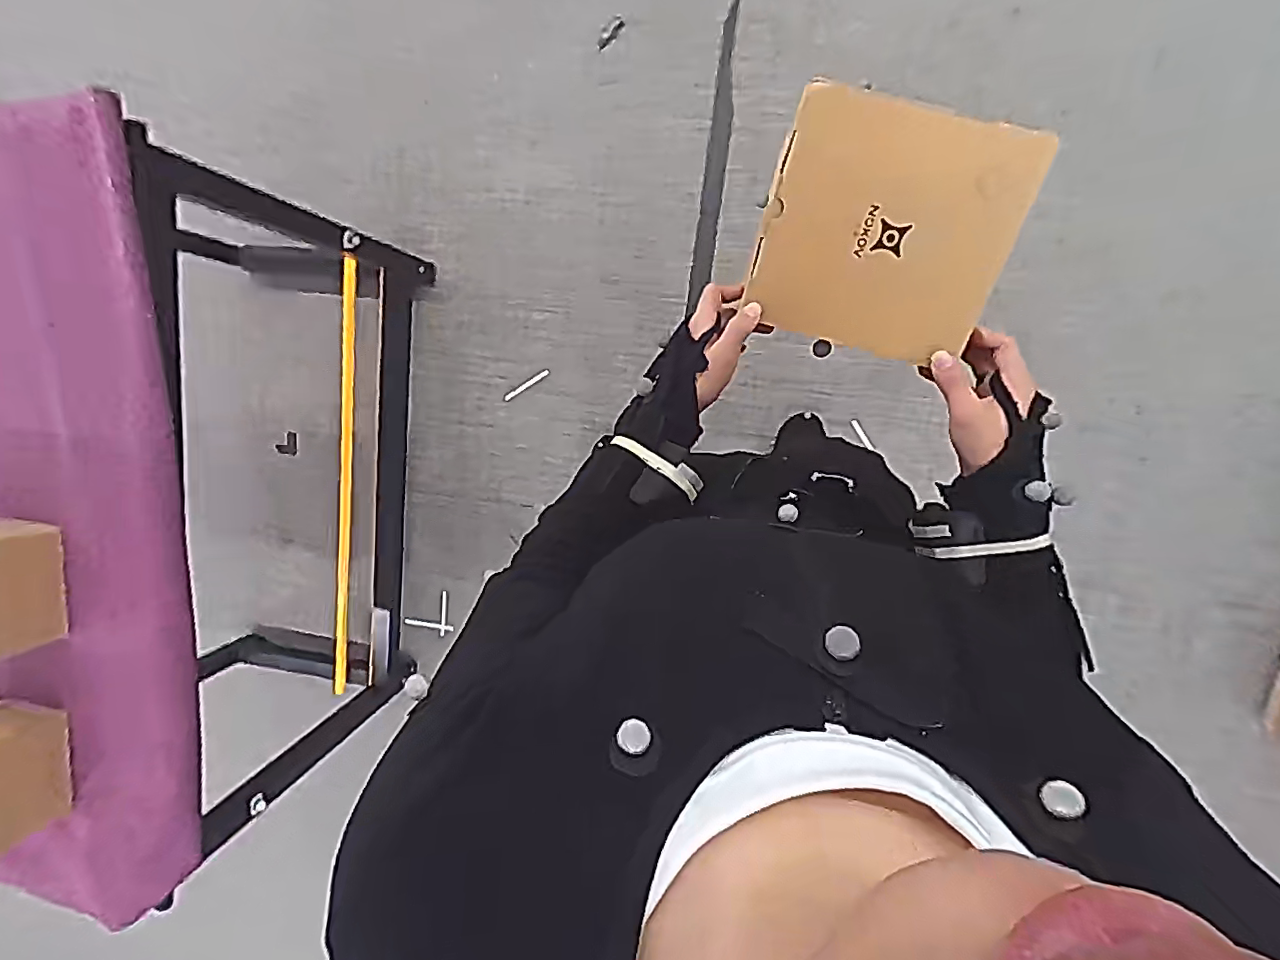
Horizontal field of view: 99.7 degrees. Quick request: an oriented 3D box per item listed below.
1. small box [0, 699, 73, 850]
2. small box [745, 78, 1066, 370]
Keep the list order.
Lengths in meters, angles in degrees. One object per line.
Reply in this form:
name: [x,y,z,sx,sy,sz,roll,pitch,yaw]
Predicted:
small box: [-1.014,0.455,0.811,0.168,0.176,0.179,5,96,10]
small box: [0.200,-0.211,0.472,0.179,0.176,0.168,17,113,5]
